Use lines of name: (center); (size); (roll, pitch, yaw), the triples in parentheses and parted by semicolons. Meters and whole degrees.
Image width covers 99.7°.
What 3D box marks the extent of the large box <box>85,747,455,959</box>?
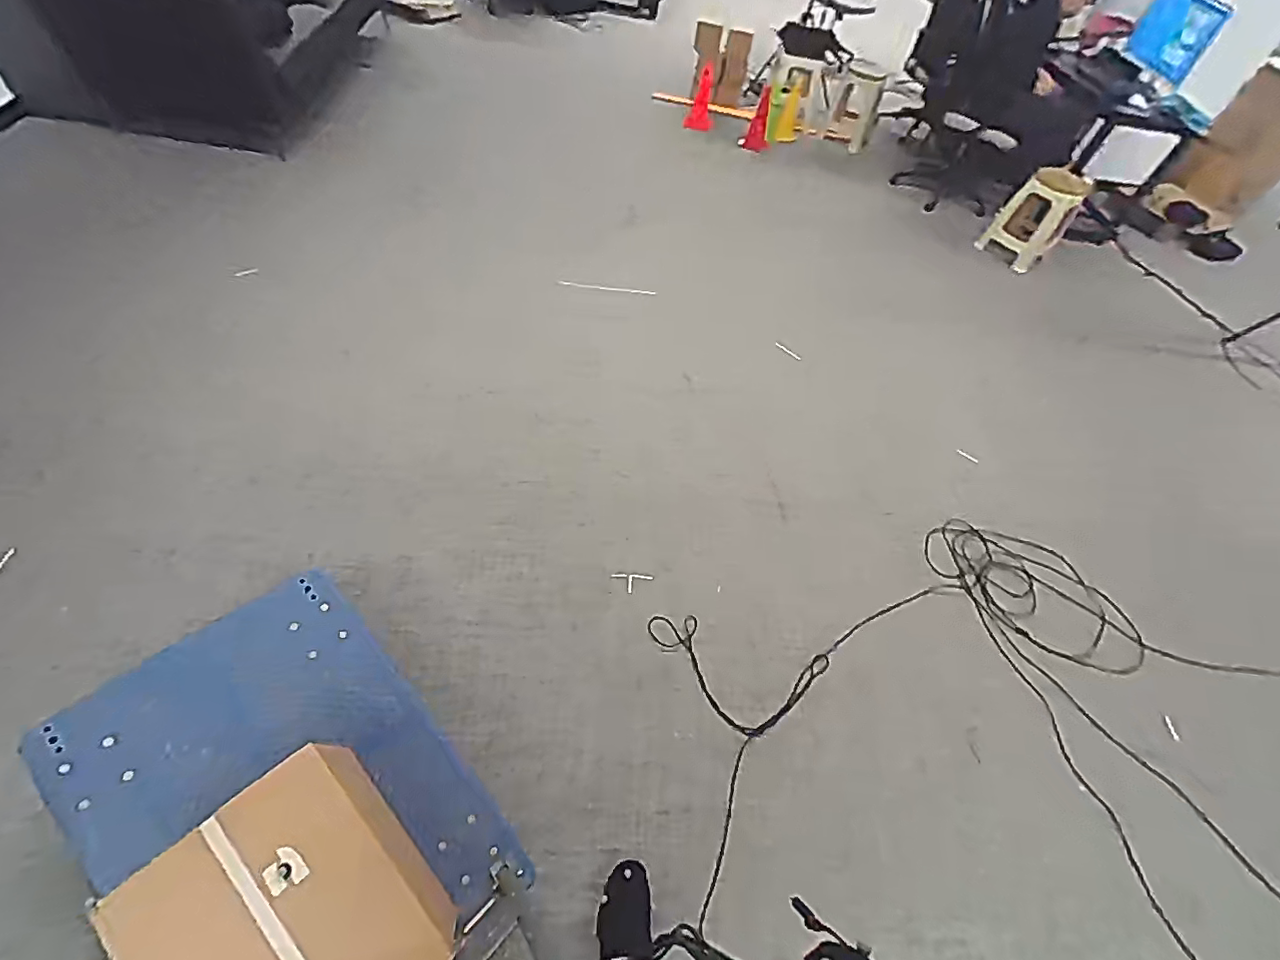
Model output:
large box: (-0.564, 0.725, 0.907); (0.320, 0.320, 0.408); (-36, 77, -30)
